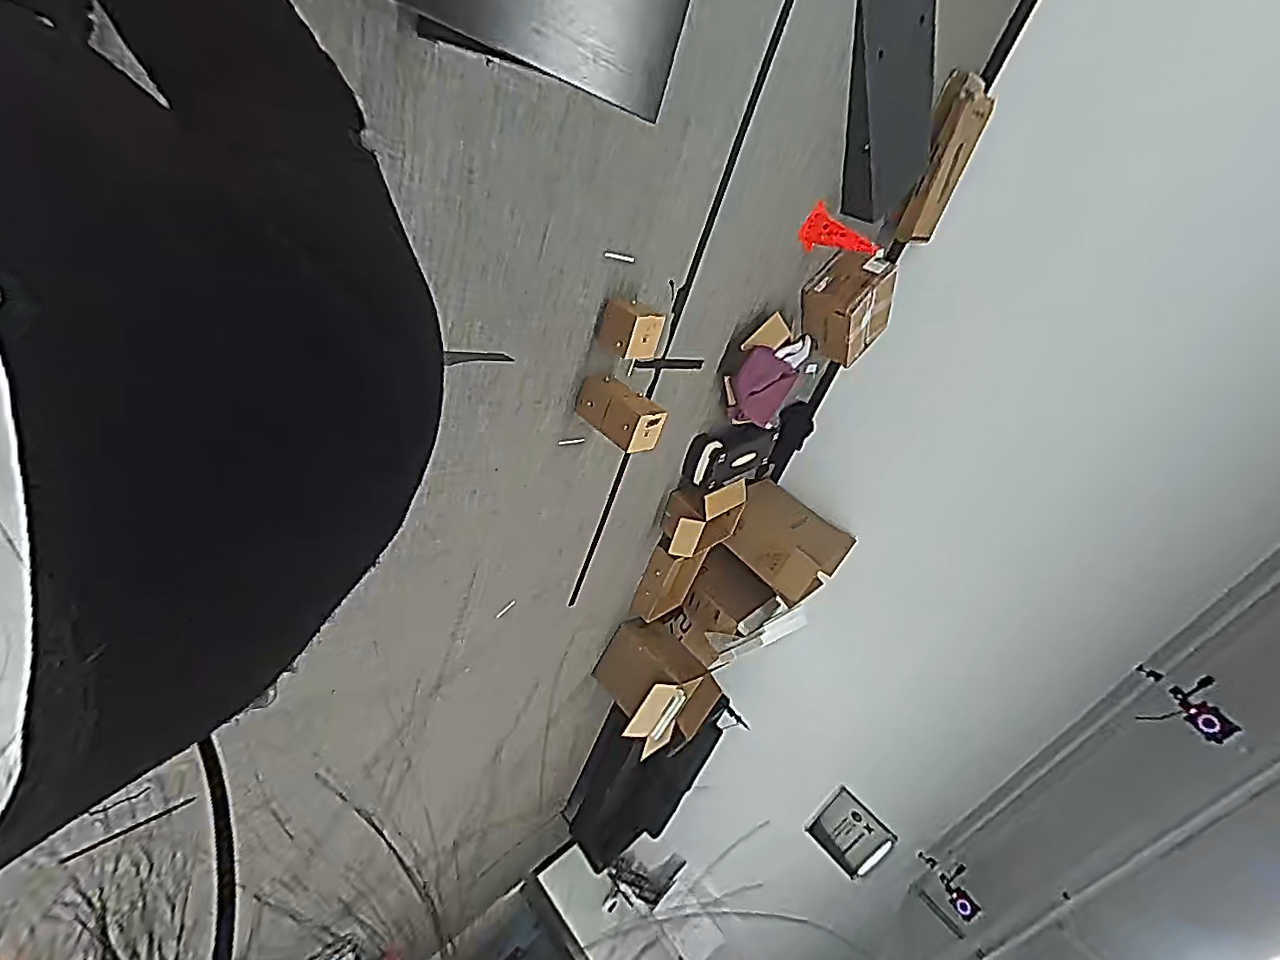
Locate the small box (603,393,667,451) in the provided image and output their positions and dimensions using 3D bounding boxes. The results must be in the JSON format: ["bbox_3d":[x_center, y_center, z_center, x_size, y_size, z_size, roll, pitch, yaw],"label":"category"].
[{"bbox_3d":[-0.026,-0.241,2.188,0.168,0.176,0.179,-14,135,-46],"label":"small box"}]

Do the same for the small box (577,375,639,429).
[{"bbox_3d":[-0.139,-0.330,2.272,0.179,0.176,0.168,-11,133,-47],"label":"small box"}]

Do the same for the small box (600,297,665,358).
[{"bbox_3d":[-0.035,-0.595,2.107,0.168,0.176,0.179,-17,136,-45],"label":"small box"}]
